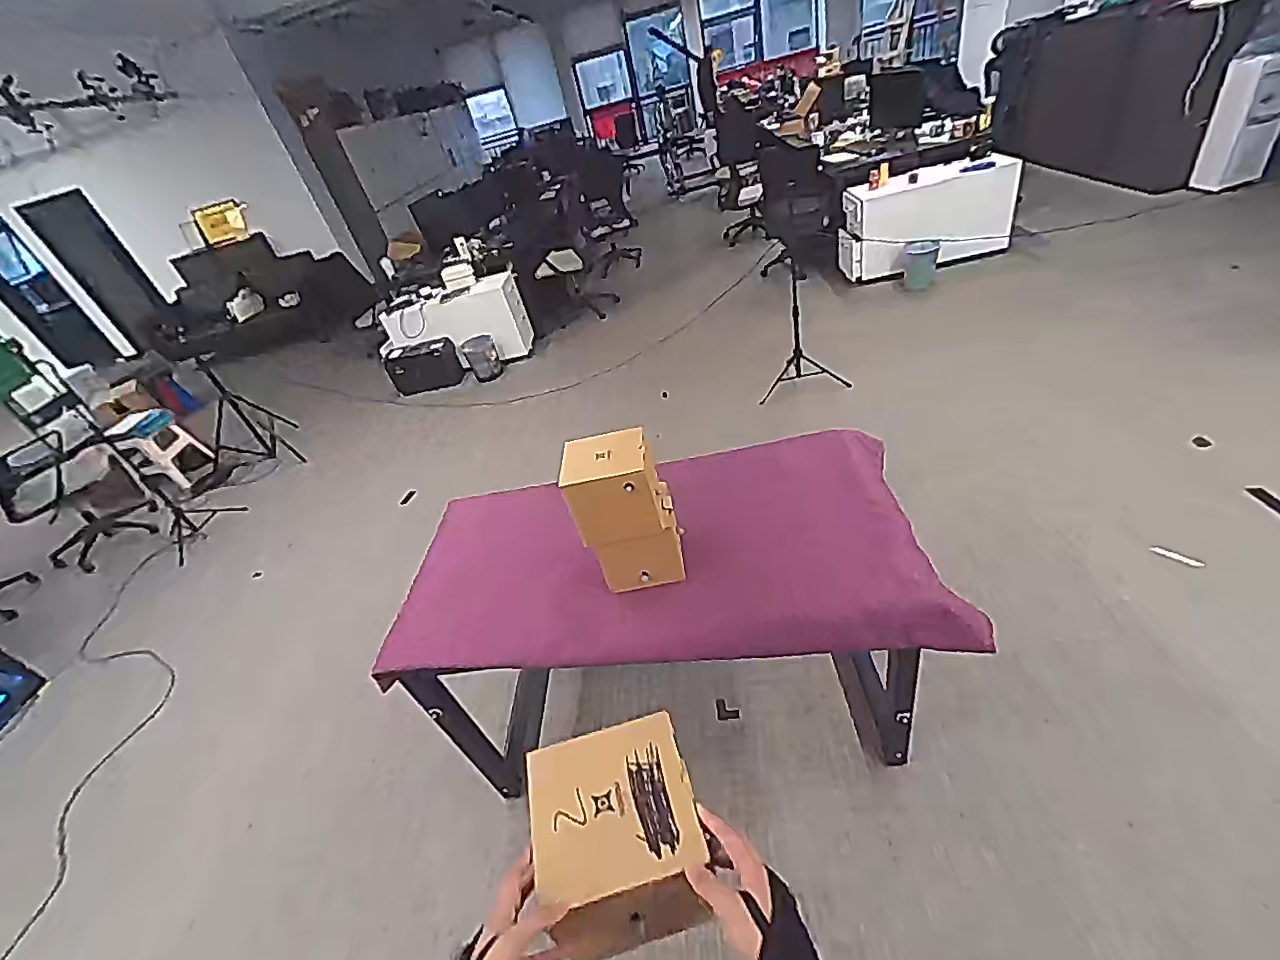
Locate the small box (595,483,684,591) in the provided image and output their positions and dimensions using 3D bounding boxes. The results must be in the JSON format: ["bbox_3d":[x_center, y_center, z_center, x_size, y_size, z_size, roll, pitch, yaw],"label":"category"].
[{"bbox_3d":[0.003,0.133,1.245,0.179,0.176,0.168,-11,35,6],"label":"small box"}]

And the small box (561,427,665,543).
[{"bbox_3d":[-0.052,0.015,1.144,0.179,0.176,0.168,-11,36,6],"label":"small box"}]
